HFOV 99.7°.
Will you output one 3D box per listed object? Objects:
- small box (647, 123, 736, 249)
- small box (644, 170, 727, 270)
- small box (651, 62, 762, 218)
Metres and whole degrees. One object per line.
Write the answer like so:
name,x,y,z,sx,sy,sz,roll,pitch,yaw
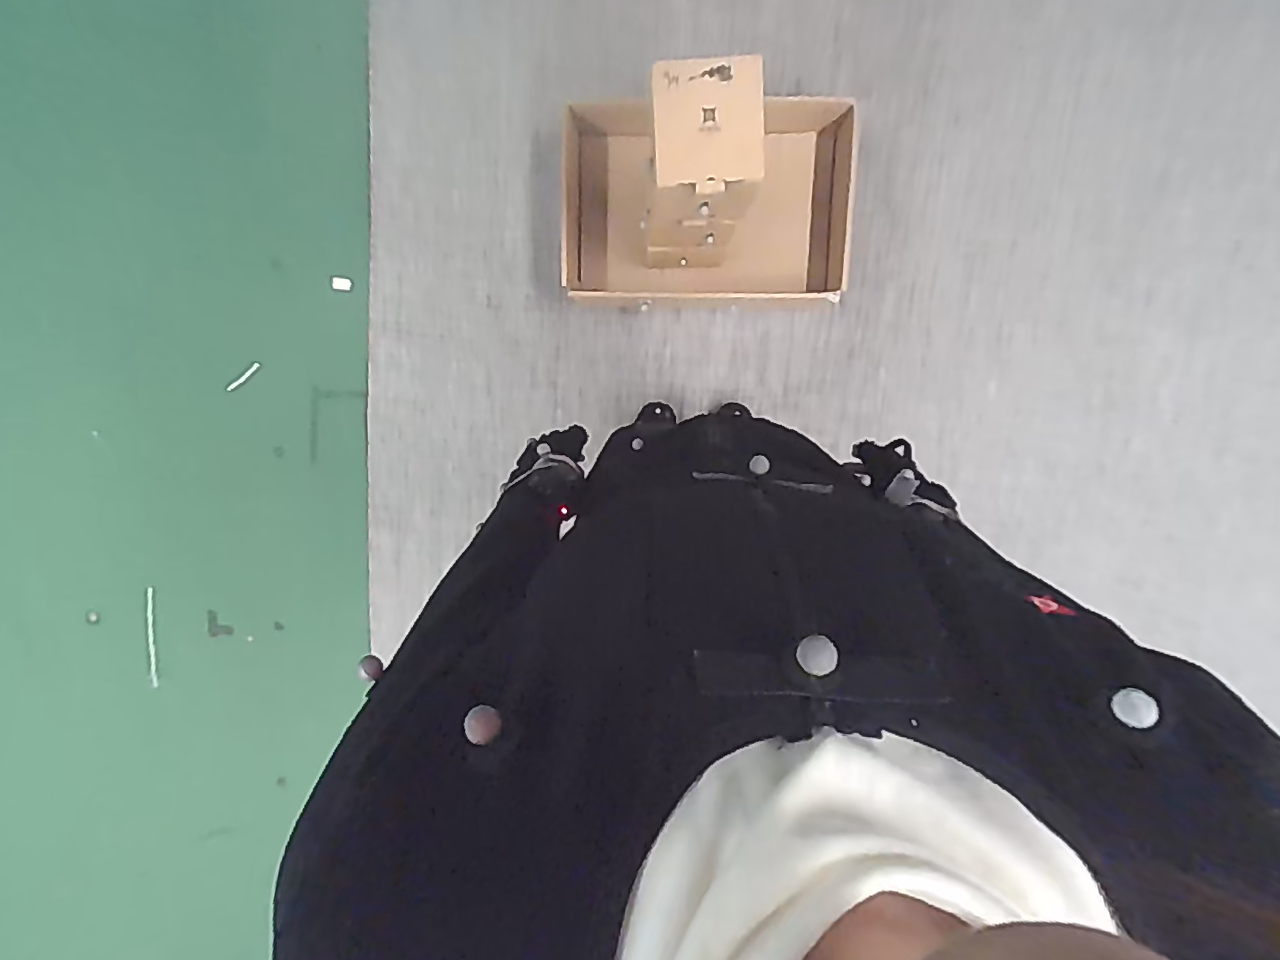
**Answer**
small box,0.098,-0.562,1.052,0.168,0.176,0.179,1,97,0
small box,0.100,-0.577,1.212,0.179,0.176,0.168,1,98,4
small box,0.102,-0.542,0.889,0.168,0.176,0.179,-1,99,1
